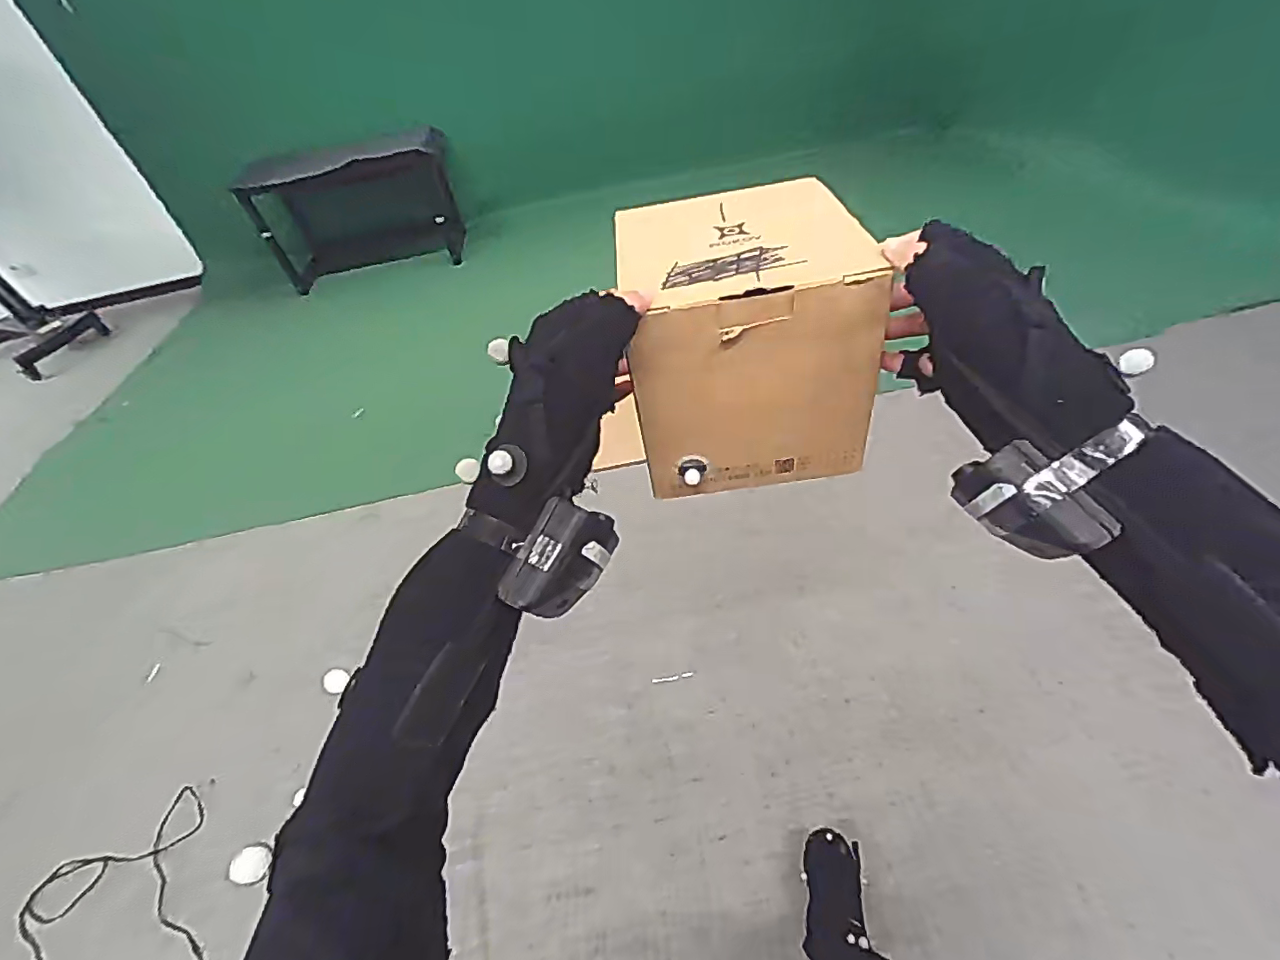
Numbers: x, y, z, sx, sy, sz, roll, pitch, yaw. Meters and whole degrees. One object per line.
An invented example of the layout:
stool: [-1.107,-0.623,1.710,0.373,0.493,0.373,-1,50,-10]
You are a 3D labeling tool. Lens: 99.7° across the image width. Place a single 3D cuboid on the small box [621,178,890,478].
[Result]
small box: [0.079,-0.116,0.438,0.168,0.176,0.179,-8,43,4]
